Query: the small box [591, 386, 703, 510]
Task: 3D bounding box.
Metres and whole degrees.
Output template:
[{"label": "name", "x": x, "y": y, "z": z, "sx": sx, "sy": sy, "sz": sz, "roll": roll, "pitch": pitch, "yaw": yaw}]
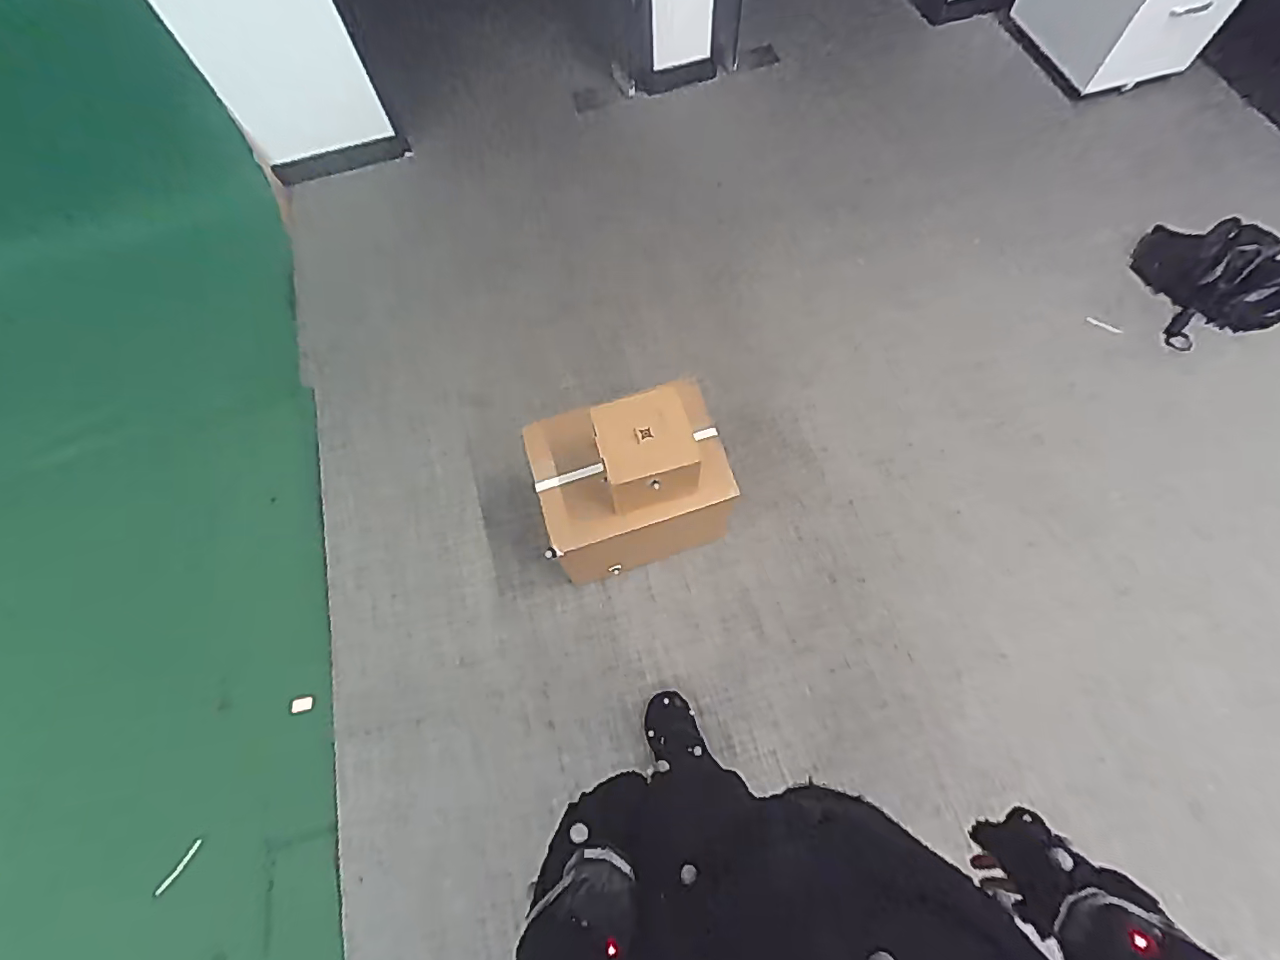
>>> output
[{"label": "small box", "x": 0.015, "y": -0.056, "z": 1.069, "sx": 0.179, "sy": 0.176, "sz": 0.168, "roll": -15, "pitch": 70, "yaw": -4}]
